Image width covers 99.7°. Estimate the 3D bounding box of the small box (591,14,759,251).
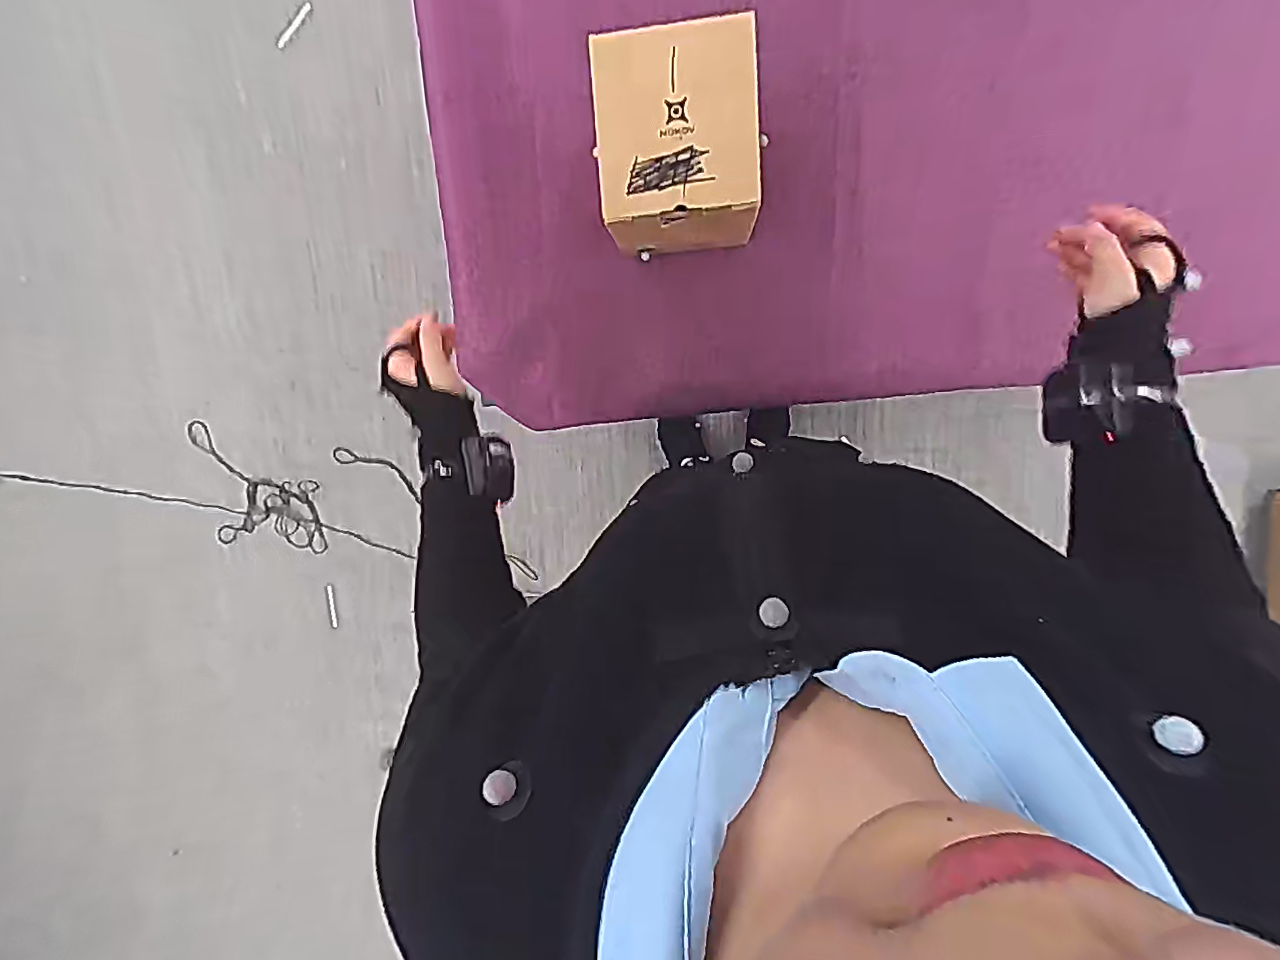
[{"bbox_3d":[0.045,-0.373,0.620,0.168,0.176,0.179,-3,99,6],"label":"small box"}]
